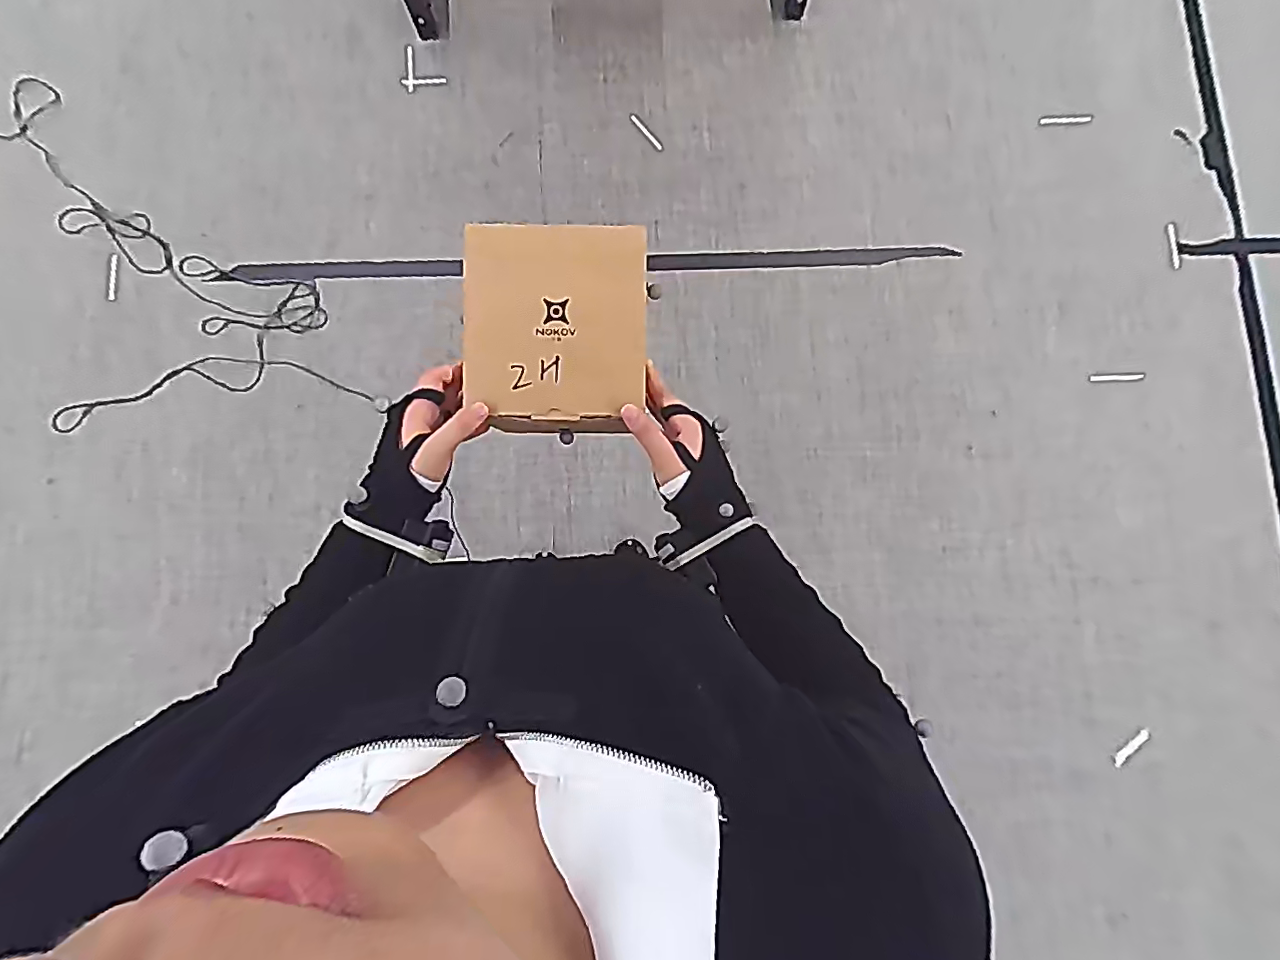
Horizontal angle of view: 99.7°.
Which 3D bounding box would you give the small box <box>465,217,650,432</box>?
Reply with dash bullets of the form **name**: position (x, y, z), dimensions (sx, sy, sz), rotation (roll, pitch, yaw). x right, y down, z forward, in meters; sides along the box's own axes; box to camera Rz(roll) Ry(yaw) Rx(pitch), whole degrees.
- **small box**: position (-0.076, -0.148, 0.567), dimensions (0.168, 0.176, 0.179), rotation (0, 89, -1)
